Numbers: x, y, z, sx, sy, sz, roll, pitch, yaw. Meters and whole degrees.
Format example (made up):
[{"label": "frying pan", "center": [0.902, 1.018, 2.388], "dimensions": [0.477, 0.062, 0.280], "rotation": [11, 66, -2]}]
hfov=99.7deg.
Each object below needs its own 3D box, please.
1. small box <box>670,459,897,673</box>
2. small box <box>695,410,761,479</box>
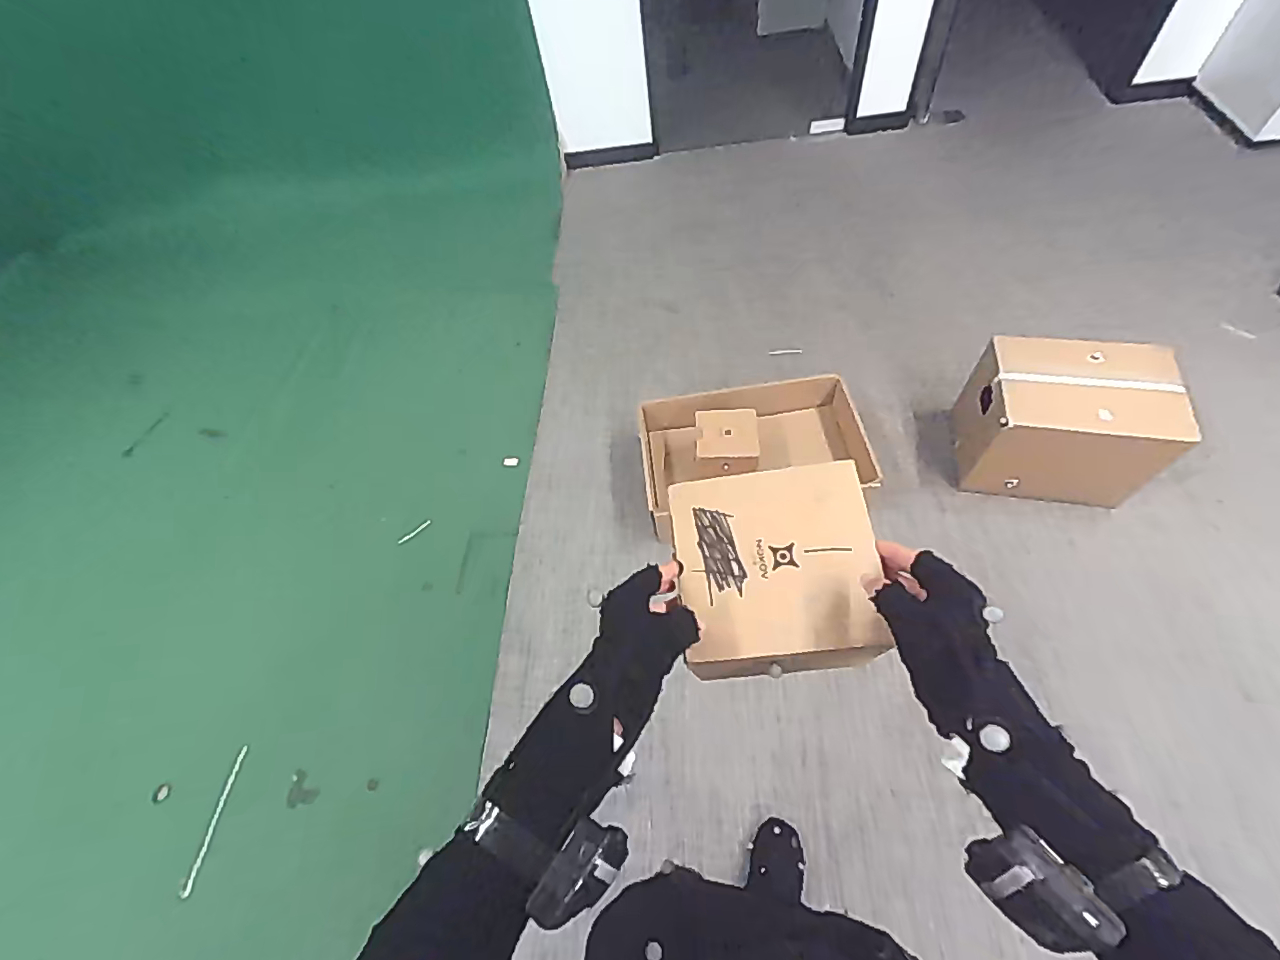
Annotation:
[{"label": "small box", "center": [0.133, 0.098, 0.551], "dimensions": [0.179, 0.176, 0.168], "rotation": [-8, 64, 7]}, {"label": "small box", "center": [0.253, -0.089, 1.586], "dimensions": [0.179, 0.176, 0.168], "rotation": [-1, 58, 5]}]
